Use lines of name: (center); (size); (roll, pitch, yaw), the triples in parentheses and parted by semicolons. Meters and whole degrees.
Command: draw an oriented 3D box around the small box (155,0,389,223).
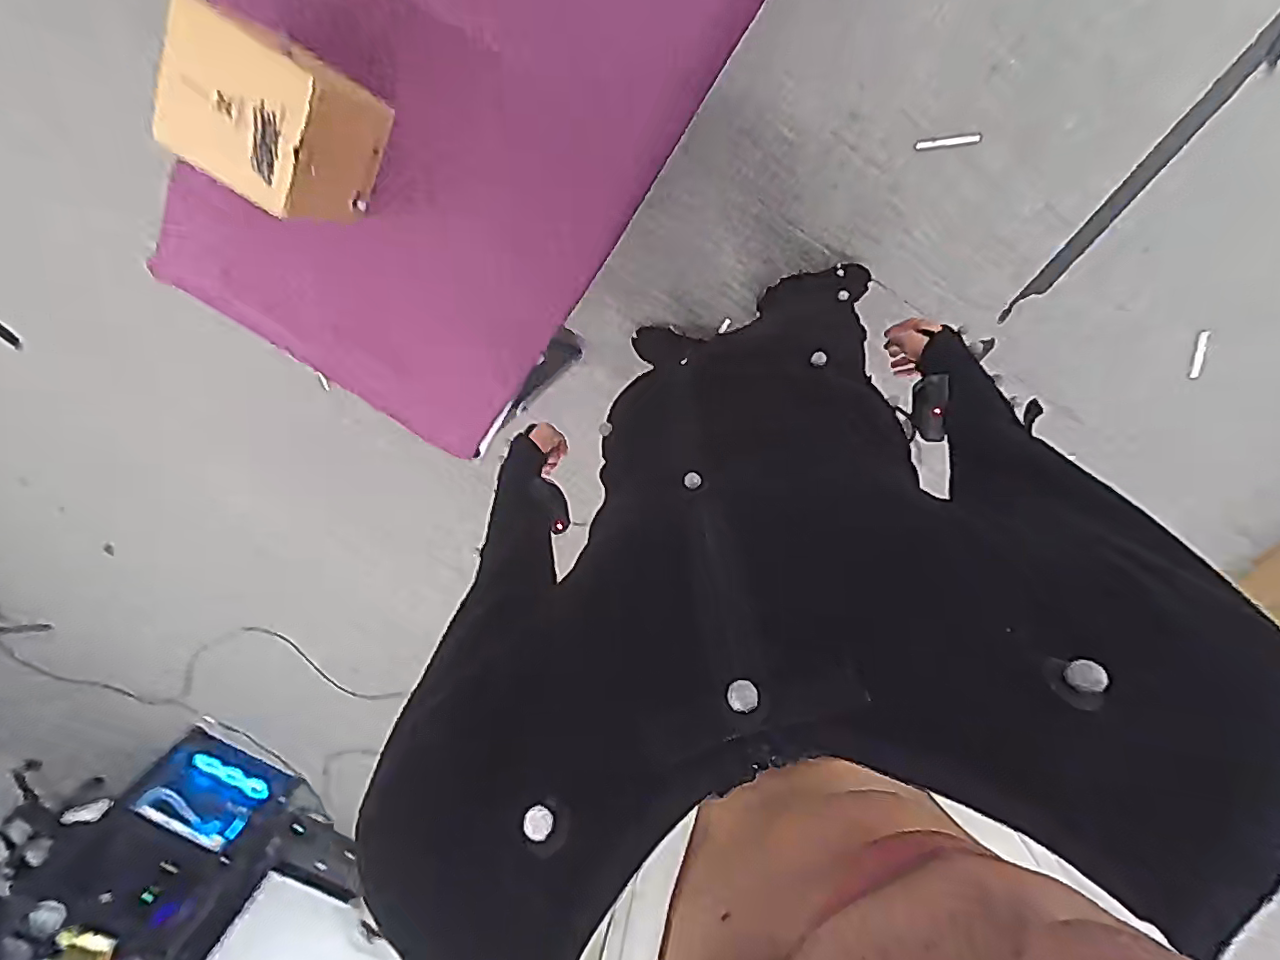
small box: (-0.467, -0.461, 0.708); (0.179, 0.176, 0.168); (31, 114, -6)
